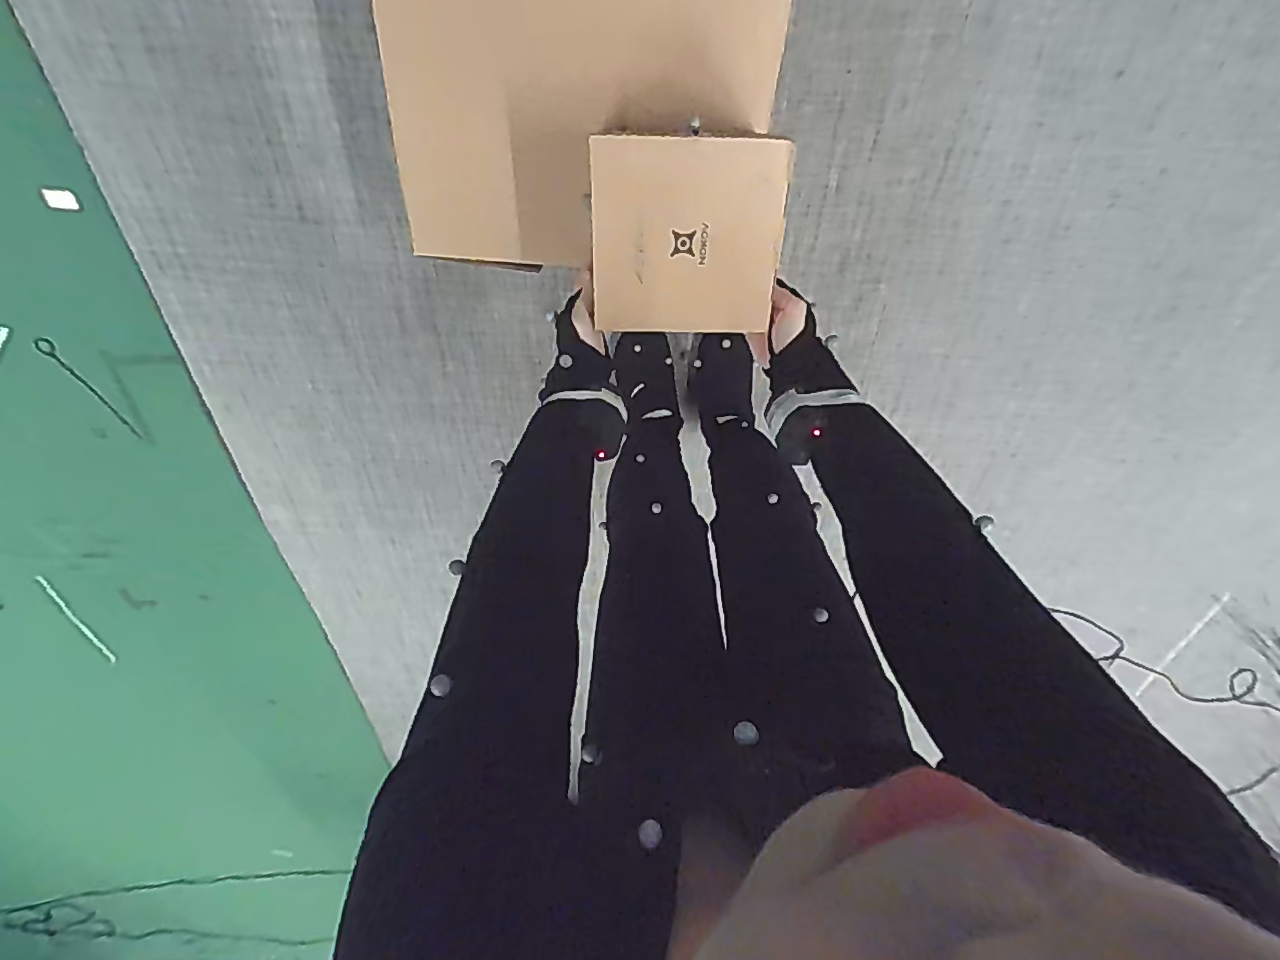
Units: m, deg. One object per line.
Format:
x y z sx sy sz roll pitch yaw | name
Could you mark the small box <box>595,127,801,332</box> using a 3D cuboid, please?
0.044 -0.261 0.556 0.179 0.176 0.168 0 124 -2 | small box
